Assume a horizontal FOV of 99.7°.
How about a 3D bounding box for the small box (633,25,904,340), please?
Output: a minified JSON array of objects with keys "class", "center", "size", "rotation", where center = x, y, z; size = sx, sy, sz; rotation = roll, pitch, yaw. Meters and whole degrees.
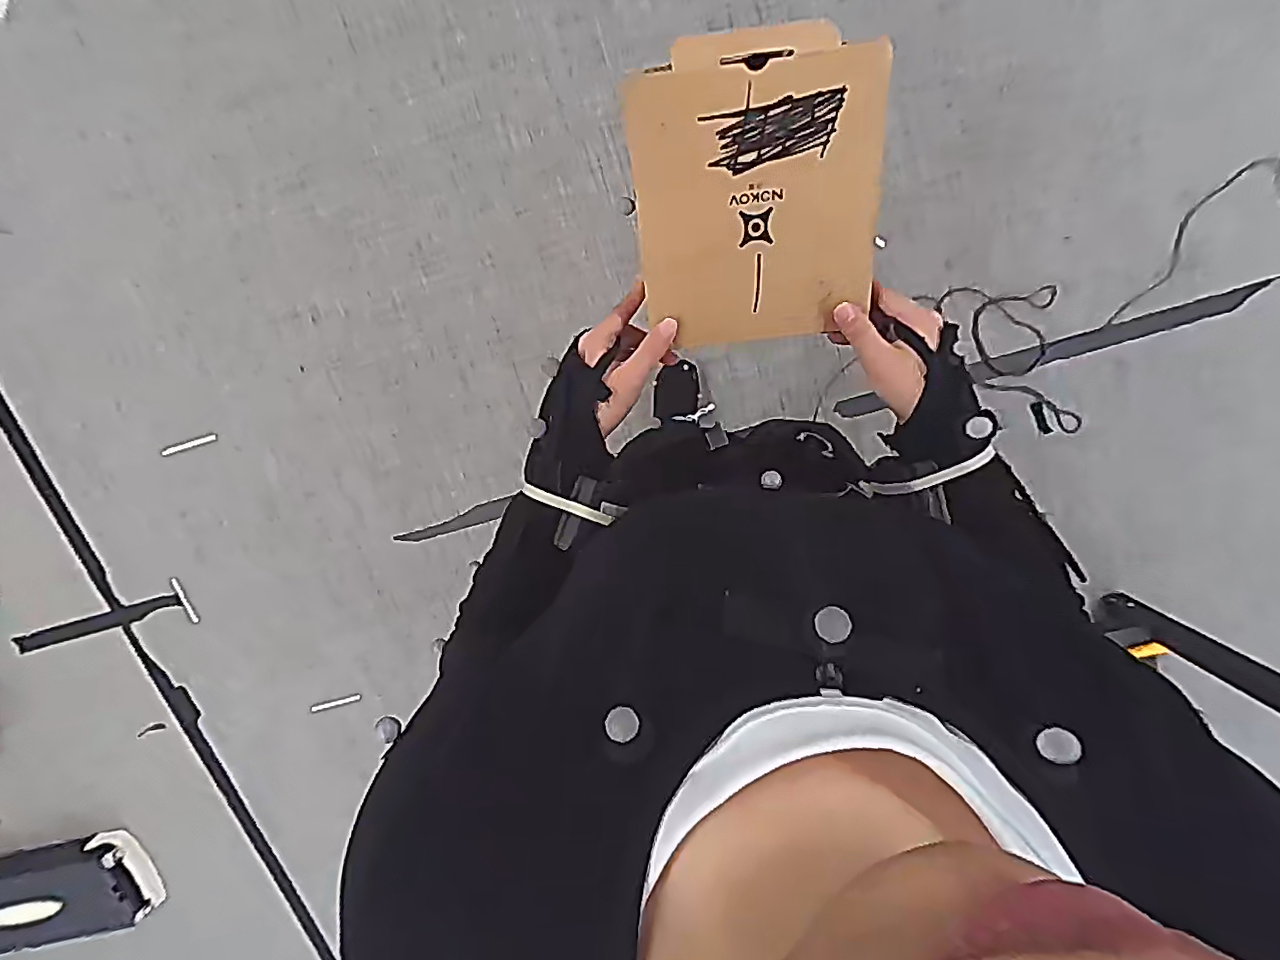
[{"class":"small box","center":[0.083,-0.225,0.432],"size":[0.168,0.176,0.179],"rotation":[-5,120,3]}]
